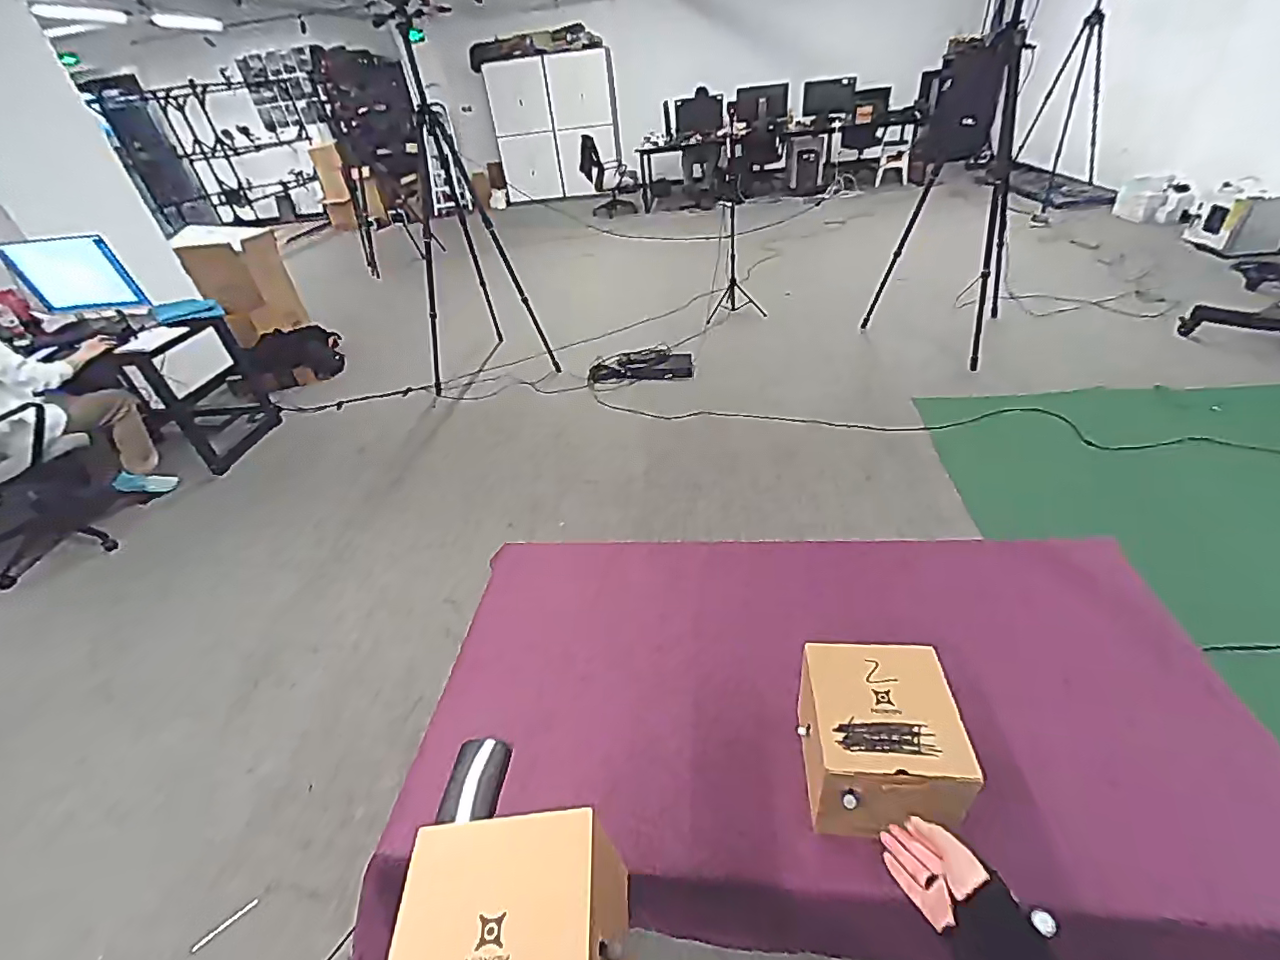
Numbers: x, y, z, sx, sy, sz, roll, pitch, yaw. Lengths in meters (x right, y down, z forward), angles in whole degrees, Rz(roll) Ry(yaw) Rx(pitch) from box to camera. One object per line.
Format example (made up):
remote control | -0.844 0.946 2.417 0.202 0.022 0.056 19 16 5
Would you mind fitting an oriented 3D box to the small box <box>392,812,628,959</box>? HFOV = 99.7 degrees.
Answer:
small box | -0.106 0.429 0.482 0.168 0.176 0.179 -9 39 4
